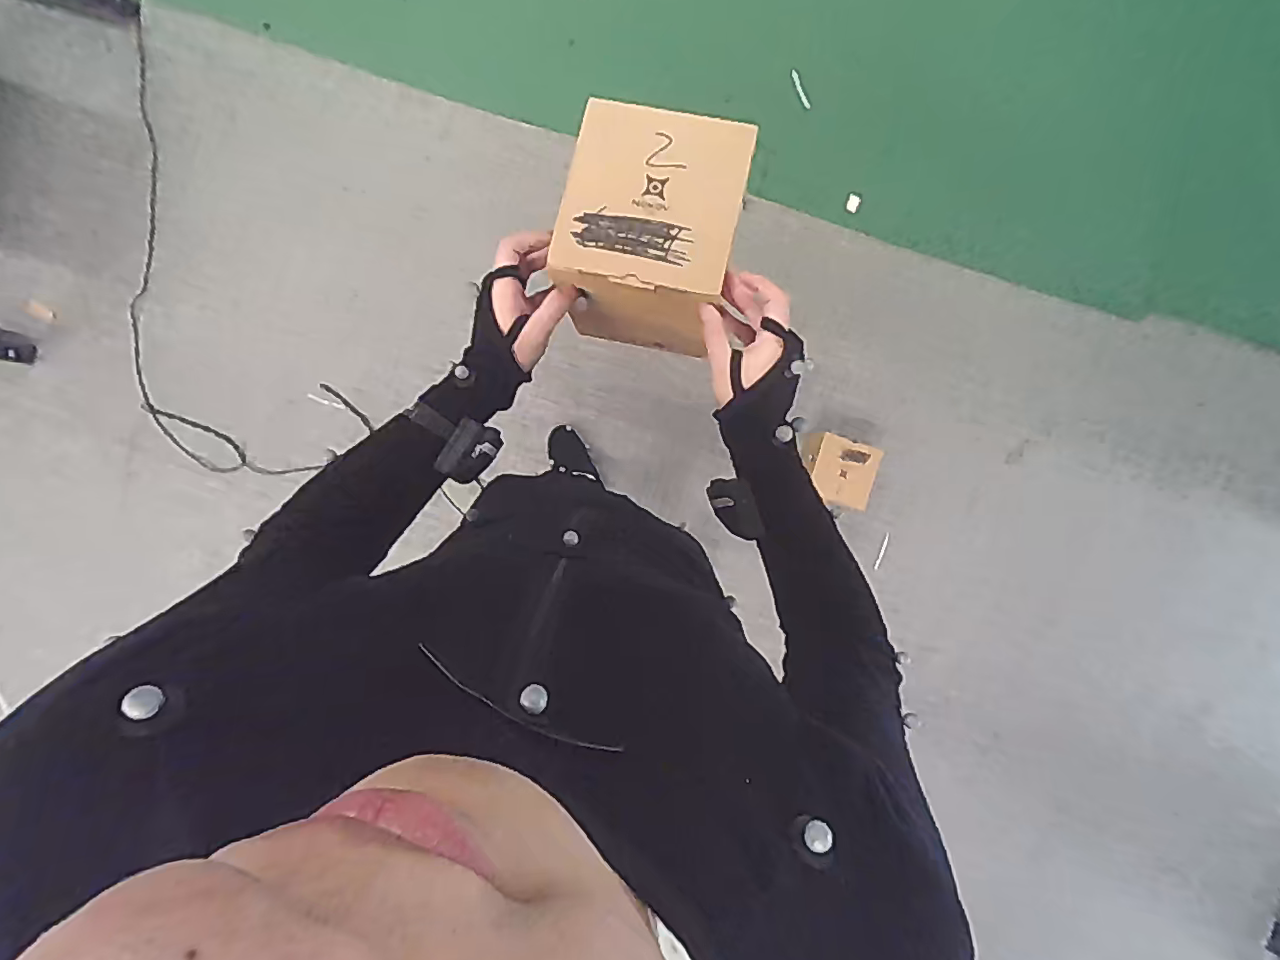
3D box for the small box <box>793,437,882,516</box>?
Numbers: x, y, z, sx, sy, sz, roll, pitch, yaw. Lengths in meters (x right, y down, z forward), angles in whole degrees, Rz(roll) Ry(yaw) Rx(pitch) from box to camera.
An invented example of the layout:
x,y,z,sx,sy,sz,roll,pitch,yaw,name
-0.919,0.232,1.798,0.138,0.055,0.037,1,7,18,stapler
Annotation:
x,y,z,sx,sy,sz,roll,pitch,yaw,name
0.551,-0.011,1.533,0.168,0.176,0.179,18,91,2,small box
